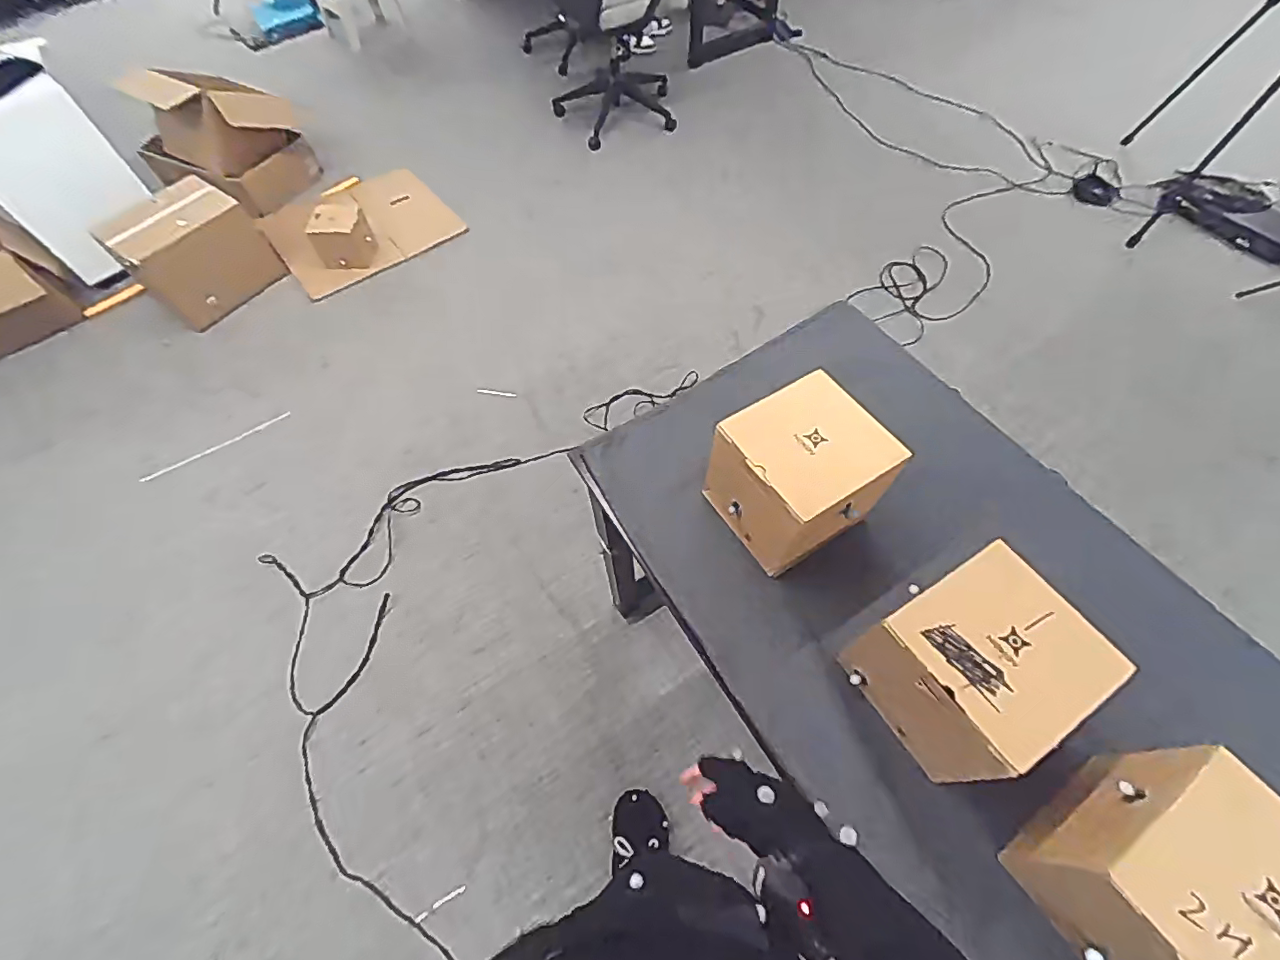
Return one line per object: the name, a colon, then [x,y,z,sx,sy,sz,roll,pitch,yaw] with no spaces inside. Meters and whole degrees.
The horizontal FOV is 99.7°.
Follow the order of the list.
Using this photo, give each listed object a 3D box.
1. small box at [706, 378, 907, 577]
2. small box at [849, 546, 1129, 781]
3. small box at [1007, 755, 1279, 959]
small box: [0.208,0.001,0.730,0.179,0.176,0.168,-29,64,-17]
small box: [0.360,0.210,0.602,0.179,0.176,0.168,-28,63,-16]
small box: [0.493,0.383,0.496,0.179,0.176,0.168,-30,63,-16]
